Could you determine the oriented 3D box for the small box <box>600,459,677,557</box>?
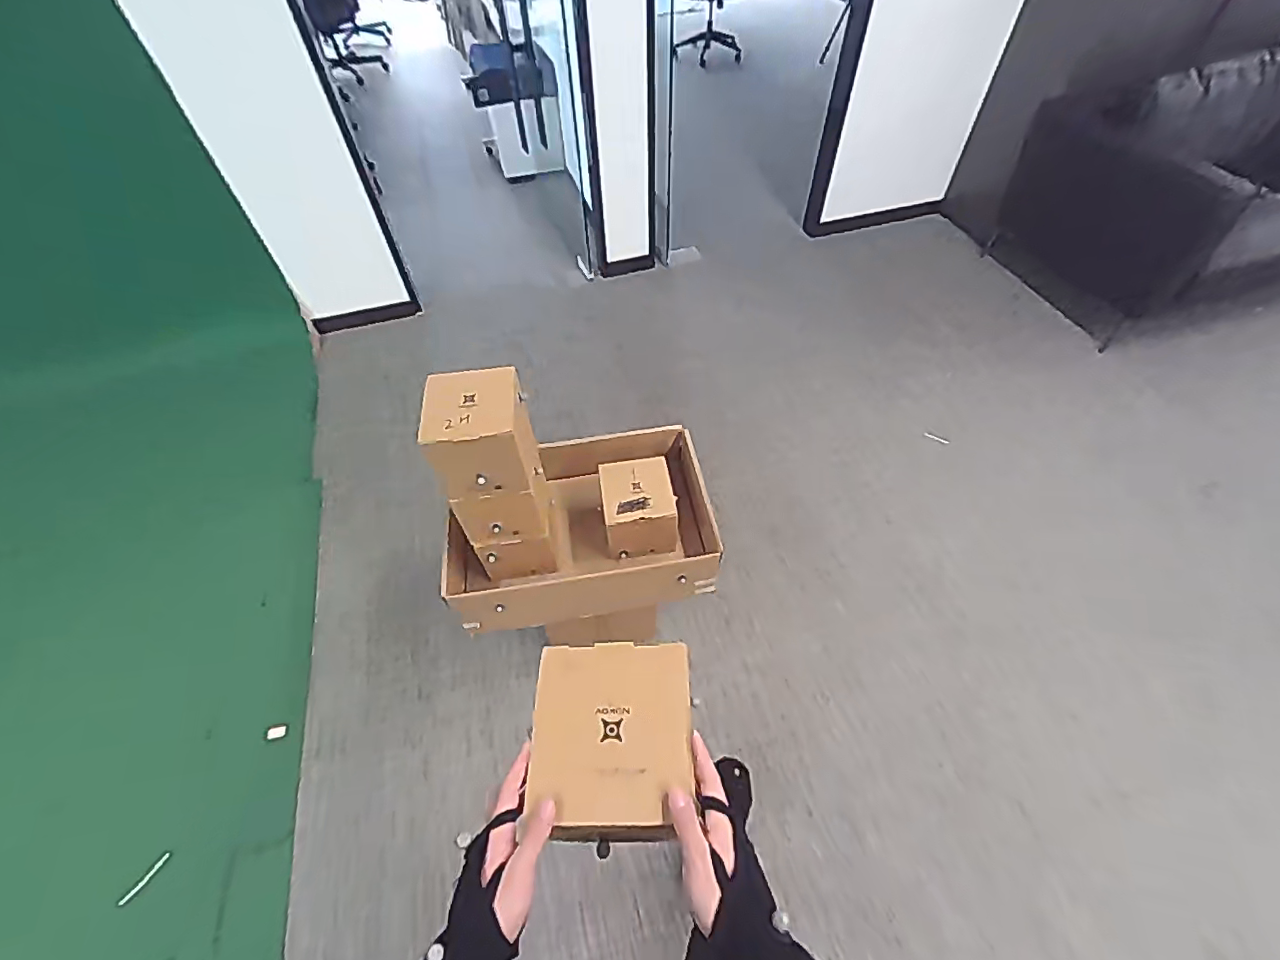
[{"bbox_3d":[-0.003,0.075,1.317,0.168,0.176,0.179,-7,52,-4],"label":"small box"}]

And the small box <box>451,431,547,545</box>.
[{"bbox_3d":[-0.297,0.017,1.167,0.168,0.176,0.179,-7,53,-4],"label":"small box"}]

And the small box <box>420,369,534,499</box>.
[{"bbox_3d":[-0.302,-0.087,1.038,0.168,0.176,0.179,-7,53,-3],"label":"small box"}]

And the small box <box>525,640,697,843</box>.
[{"bbox_3d":[-0.023,0.300,0.620,0.168,0.176,0.179,-1,51,3],"label":"small box"}]
